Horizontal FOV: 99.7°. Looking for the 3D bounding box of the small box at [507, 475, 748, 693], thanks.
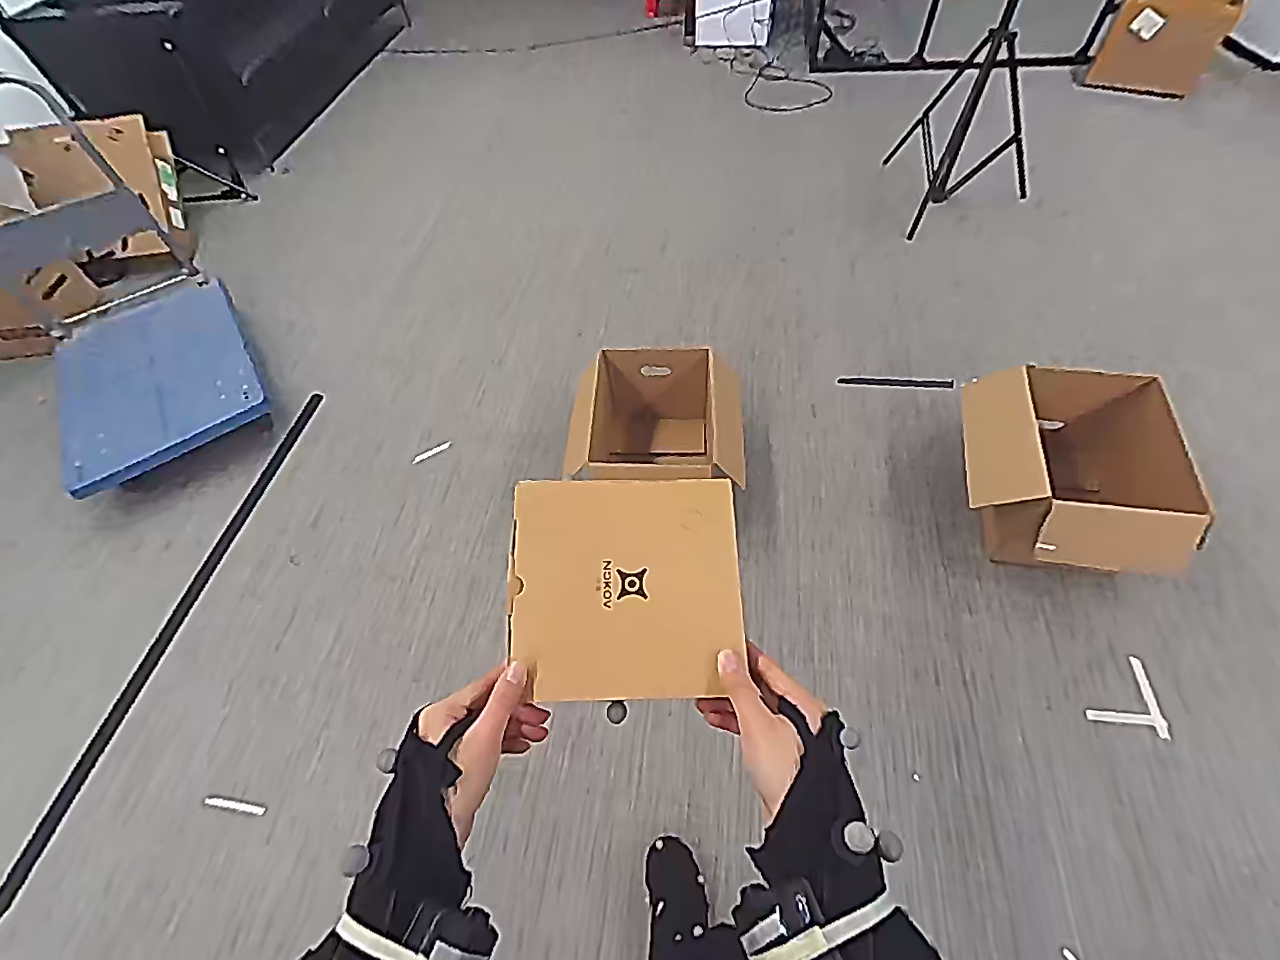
[{"bbox_3d":[-0.012,0.099,0.487,0.179,0.176,0.168,-1,71,-1],"label":"small box"}]
